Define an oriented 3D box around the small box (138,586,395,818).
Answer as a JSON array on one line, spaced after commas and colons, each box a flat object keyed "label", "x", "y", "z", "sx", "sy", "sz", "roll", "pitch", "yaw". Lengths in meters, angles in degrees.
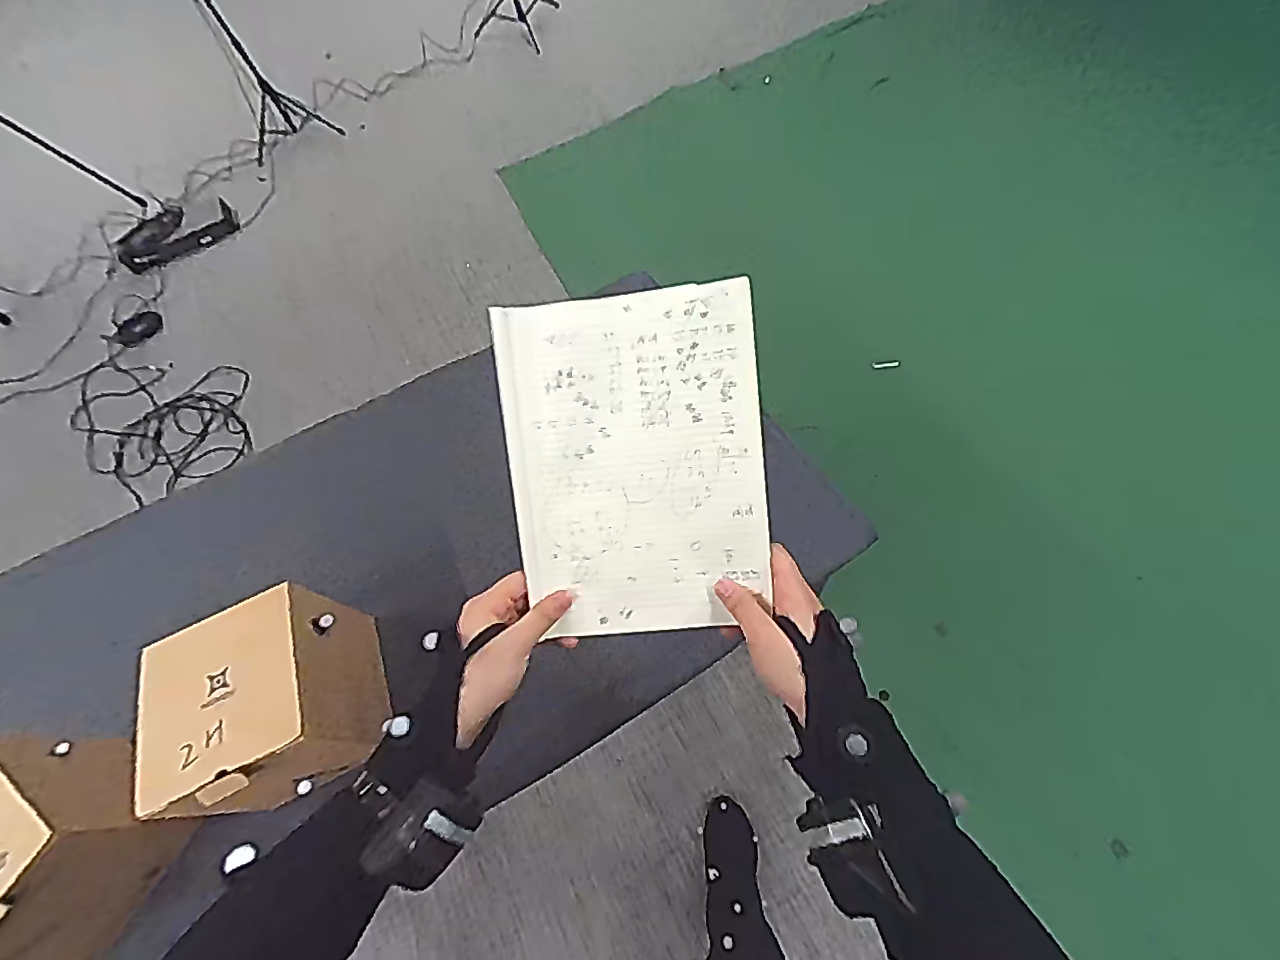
[{"label": "small box", "x": -0.411, "y": 0.253, "z": 0.616, "sx": 0.168, "sy": 0.176, "sz": 0.179, "roll": -26, "pitch": 61, "yaw": -4}]
